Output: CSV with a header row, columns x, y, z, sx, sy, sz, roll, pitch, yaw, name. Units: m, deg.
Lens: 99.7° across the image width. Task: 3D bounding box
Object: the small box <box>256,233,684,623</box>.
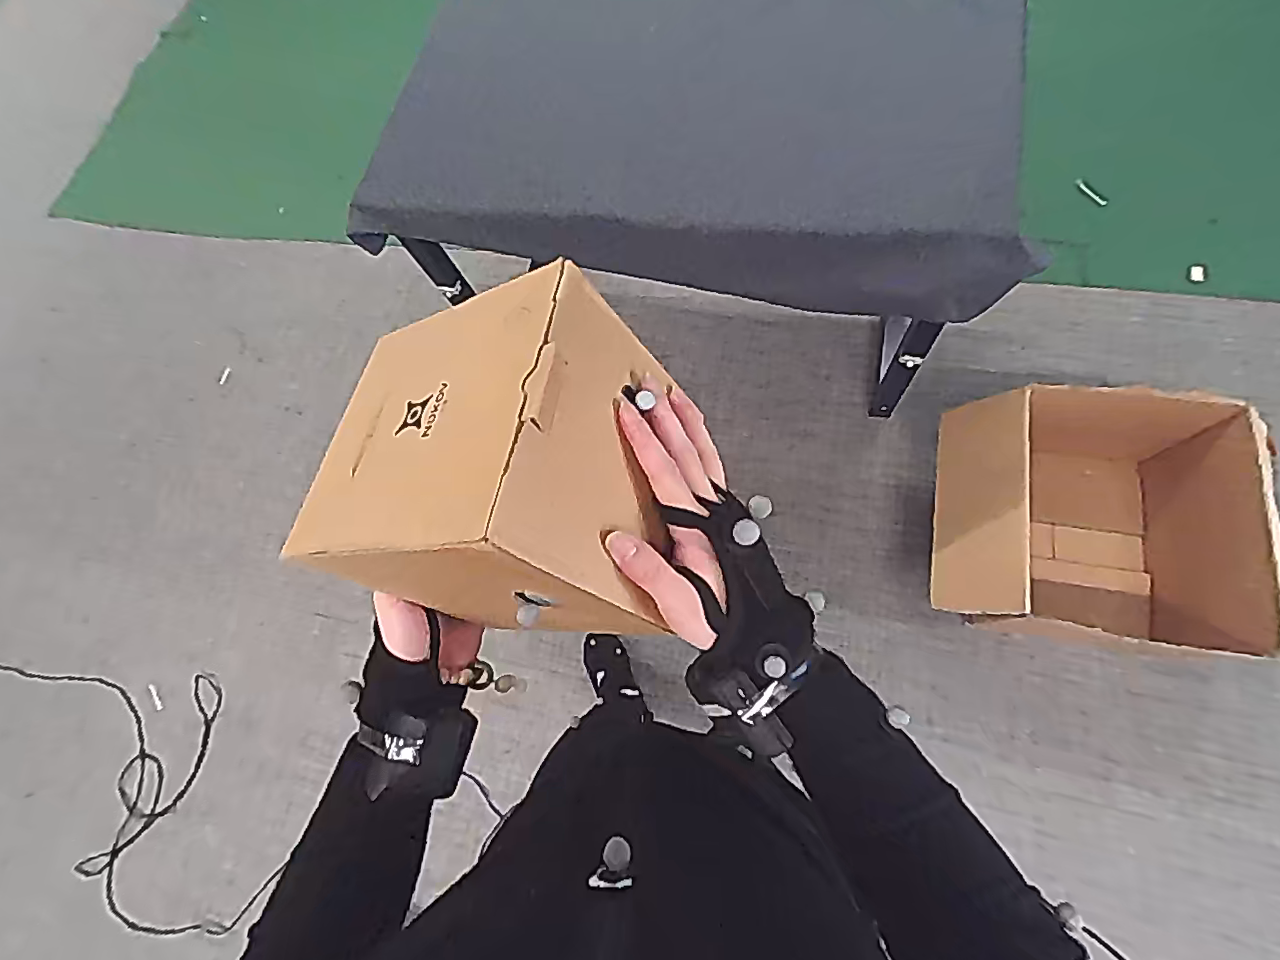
x,y,z,sx,sy,sz,roll,pitch,yaw,name
-0.088,-0.011,0.348,0.179,0.176,0.168,-9,58,33,small box
